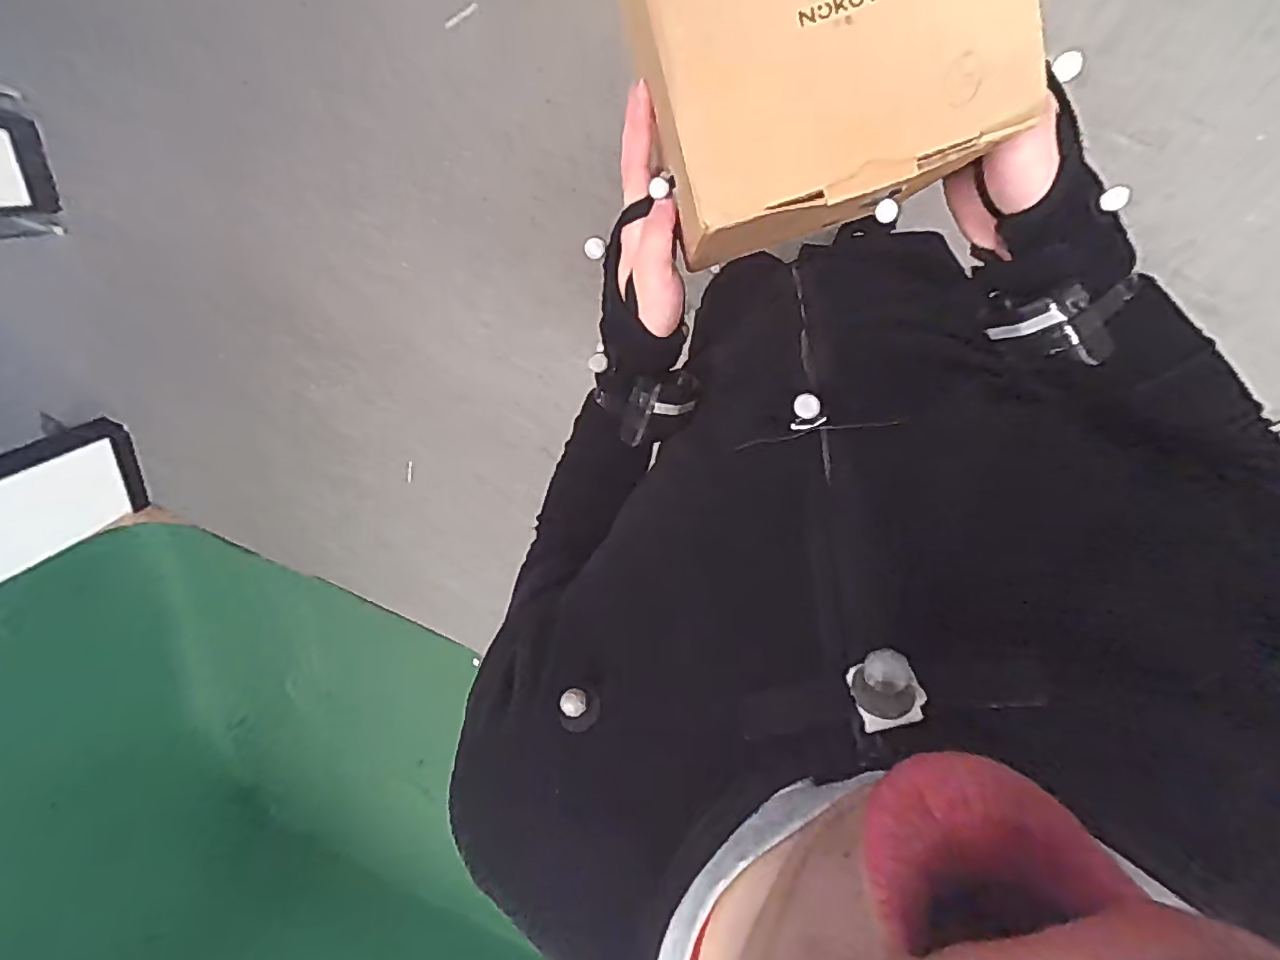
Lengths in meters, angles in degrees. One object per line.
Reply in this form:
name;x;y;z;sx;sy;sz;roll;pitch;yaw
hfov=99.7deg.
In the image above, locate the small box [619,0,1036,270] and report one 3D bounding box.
small box;0.088;-0.239;0.323;0.168;0.176;0.179;-17;101;5
